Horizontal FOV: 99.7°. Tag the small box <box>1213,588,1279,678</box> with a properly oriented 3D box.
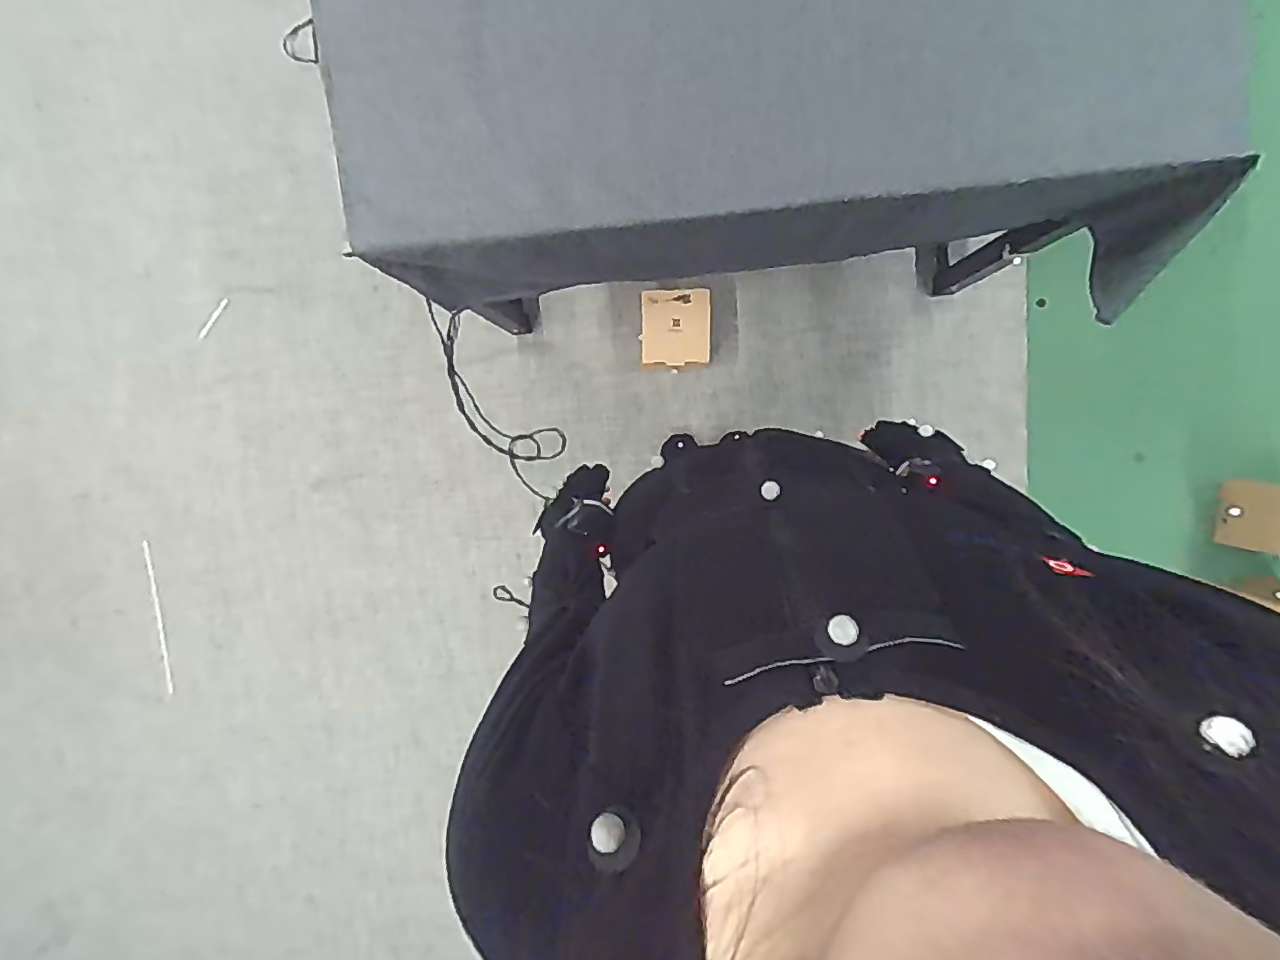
[{"bbox_3d":[1.574,0.373,1.329,0.179,0.176,0.168,-6,94,3],"label":"small box"}]

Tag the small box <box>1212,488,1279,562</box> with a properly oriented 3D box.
[{"bbox_3d":[1.573,0.114,1.311,0.179,0.176,0.168,7,94,4],"label":"small box"}]

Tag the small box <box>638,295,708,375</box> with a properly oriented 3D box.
[{"bbox_3d":[0.085,-0.359,1.365,0.168,0.176,0.179,0,94,4],"label":"small box"}]

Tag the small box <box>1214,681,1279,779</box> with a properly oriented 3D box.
[{"bbox_3d":[1.605,0.618,1.346,0.179,0.176,0.168,-9,93,4],"label":"small box"}]
